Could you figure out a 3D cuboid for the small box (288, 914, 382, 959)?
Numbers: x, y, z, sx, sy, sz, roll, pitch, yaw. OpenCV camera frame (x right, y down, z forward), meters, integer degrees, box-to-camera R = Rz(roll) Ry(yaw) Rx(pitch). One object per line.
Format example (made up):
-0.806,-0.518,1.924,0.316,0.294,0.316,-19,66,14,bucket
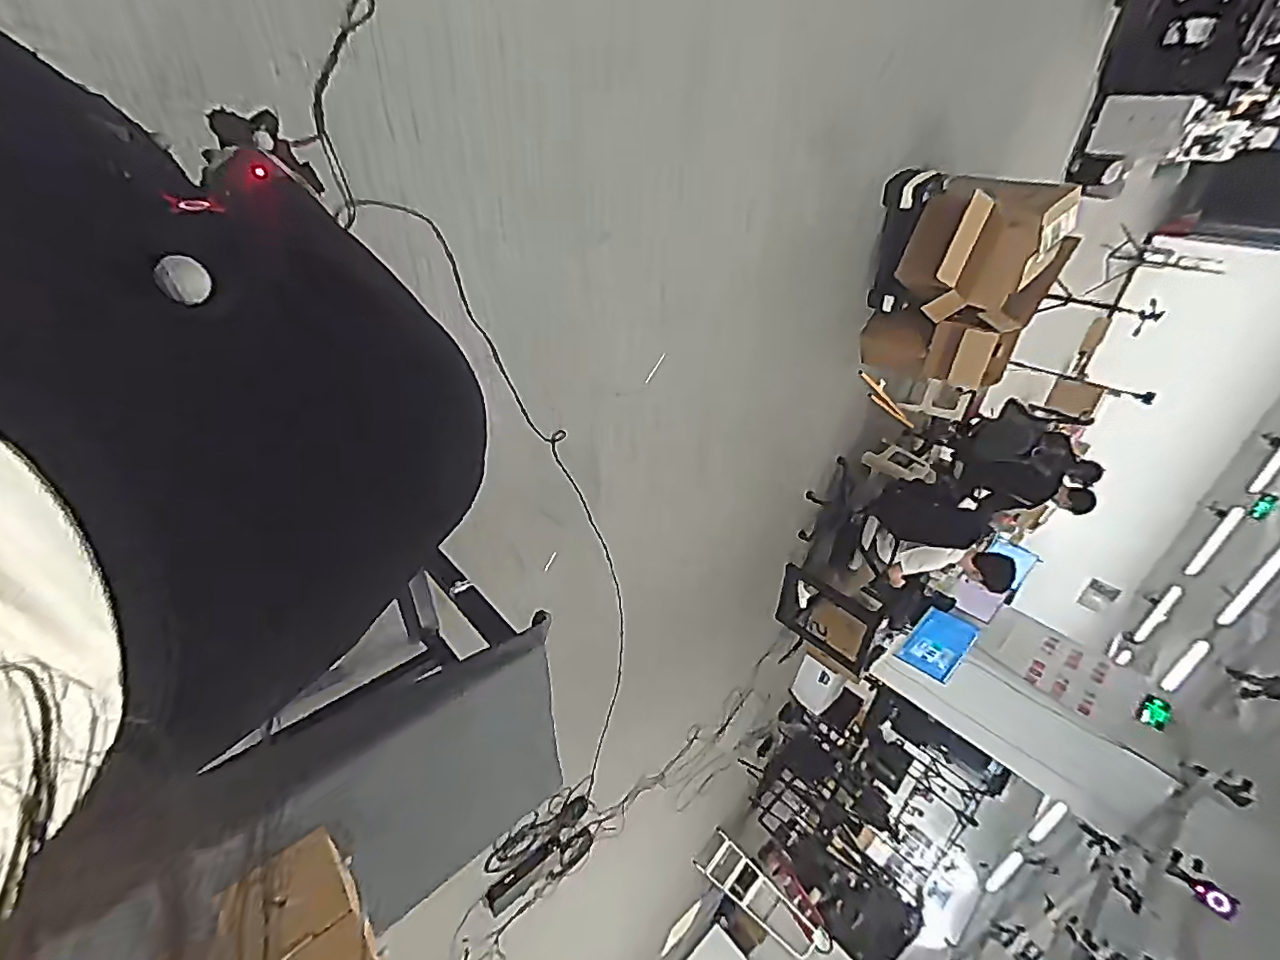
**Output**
-0.472,0.814,0.803,0.179,0.176,0.168,-26,133,-33,small box

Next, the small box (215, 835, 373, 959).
-0.579,0.748,0.911,0.168,0.176,0.179,-25,132,-35,small box
